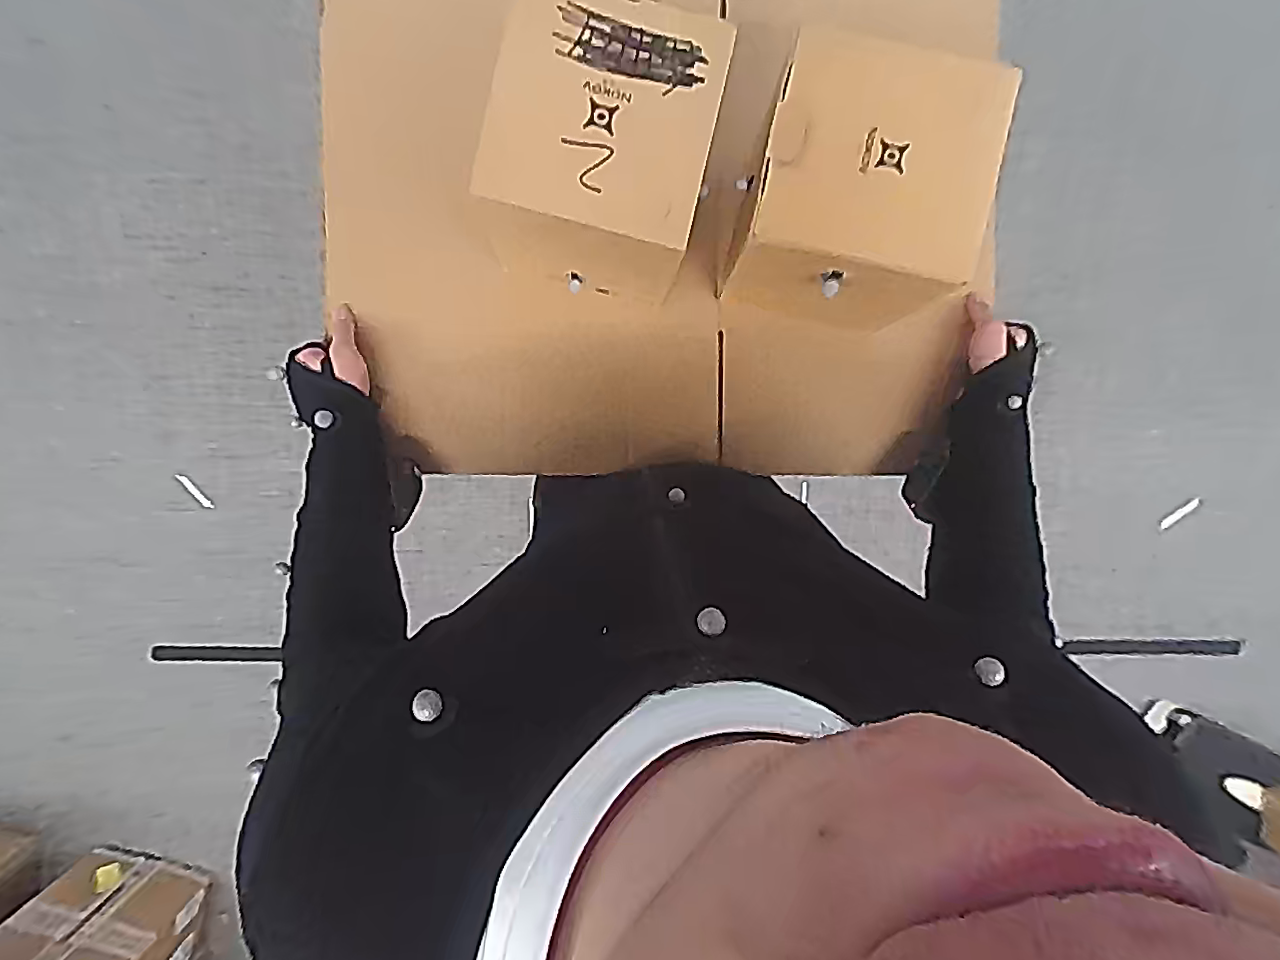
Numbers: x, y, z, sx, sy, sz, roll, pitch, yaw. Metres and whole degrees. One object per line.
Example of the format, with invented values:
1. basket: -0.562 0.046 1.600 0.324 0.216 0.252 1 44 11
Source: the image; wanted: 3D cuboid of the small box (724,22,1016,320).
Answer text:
1. small box: 0.190 -0.260 0.502 0.179 0.176 0.168 13 93 0
